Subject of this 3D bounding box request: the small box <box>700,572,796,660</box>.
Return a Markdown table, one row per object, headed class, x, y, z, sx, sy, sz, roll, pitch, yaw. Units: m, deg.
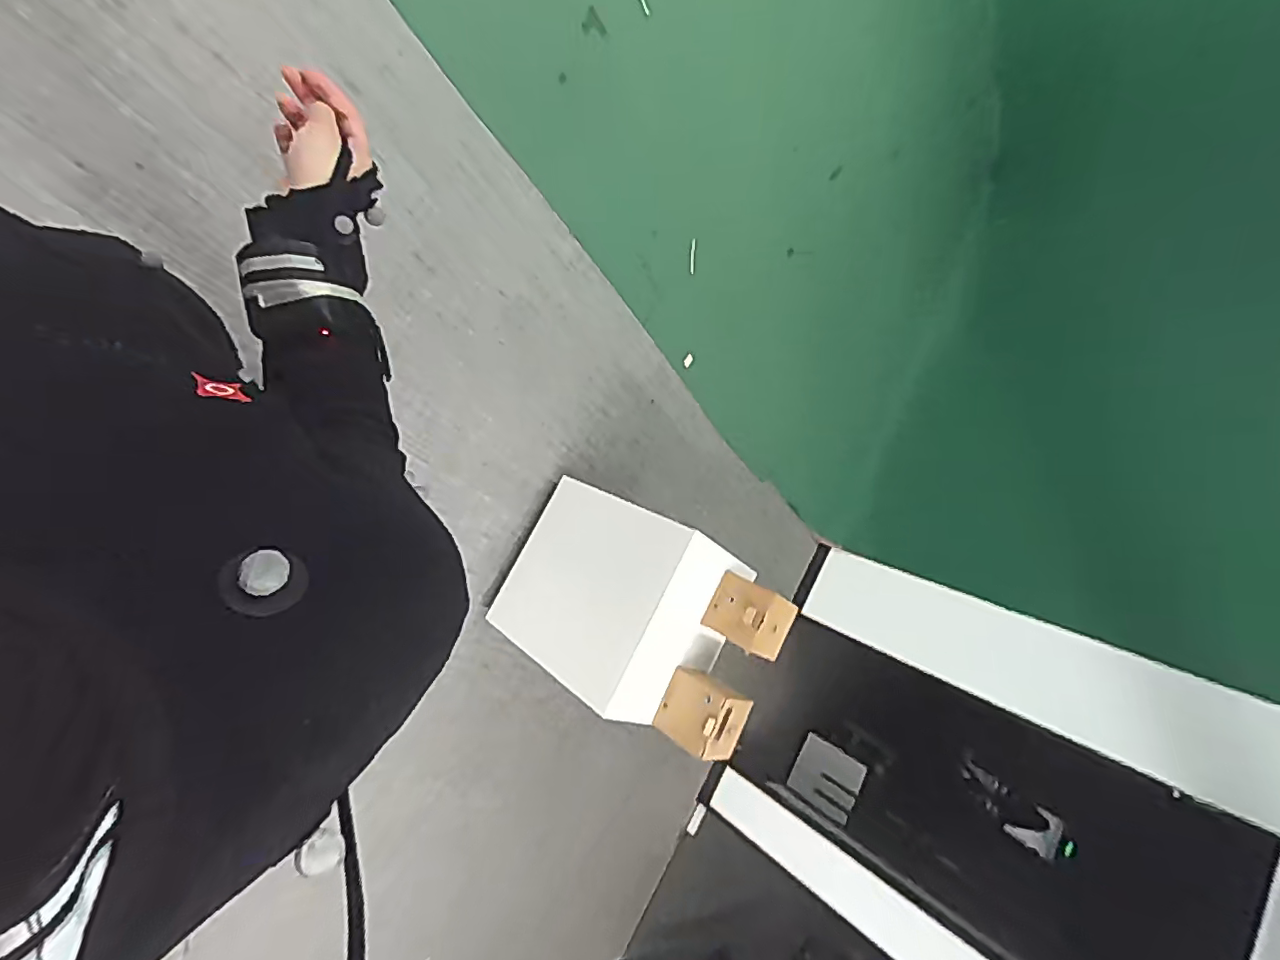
| class | x | y | z | sx | sy | sz | roll | pitch | yaw |
| --- | --- | --- | --- | --- | --- | --- | --- | --- | --- |
| small box | 0.301 | 0.377 | 1.512 | 0.179 | 0.176 | 0.168 | 35 | 80 | -46 |
